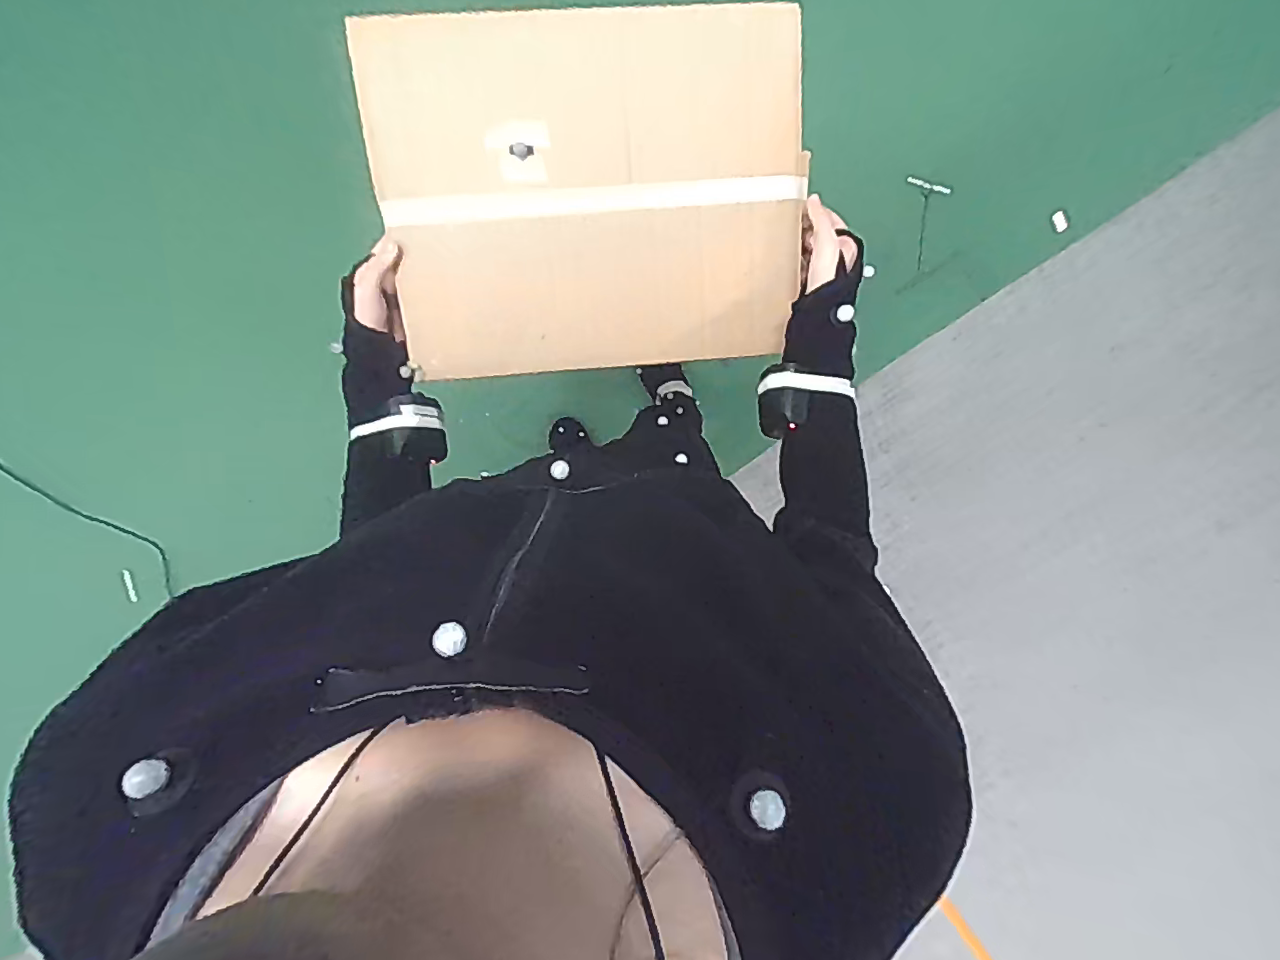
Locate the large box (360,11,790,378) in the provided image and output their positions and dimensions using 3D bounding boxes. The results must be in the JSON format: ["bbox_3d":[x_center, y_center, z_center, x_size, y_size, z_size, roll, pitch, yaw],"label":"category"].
[{"bbox_3d":[-0.055,-0.315,0.679,0.408,0.320,0.320,-5,106,-3],"label":"large box"}]
